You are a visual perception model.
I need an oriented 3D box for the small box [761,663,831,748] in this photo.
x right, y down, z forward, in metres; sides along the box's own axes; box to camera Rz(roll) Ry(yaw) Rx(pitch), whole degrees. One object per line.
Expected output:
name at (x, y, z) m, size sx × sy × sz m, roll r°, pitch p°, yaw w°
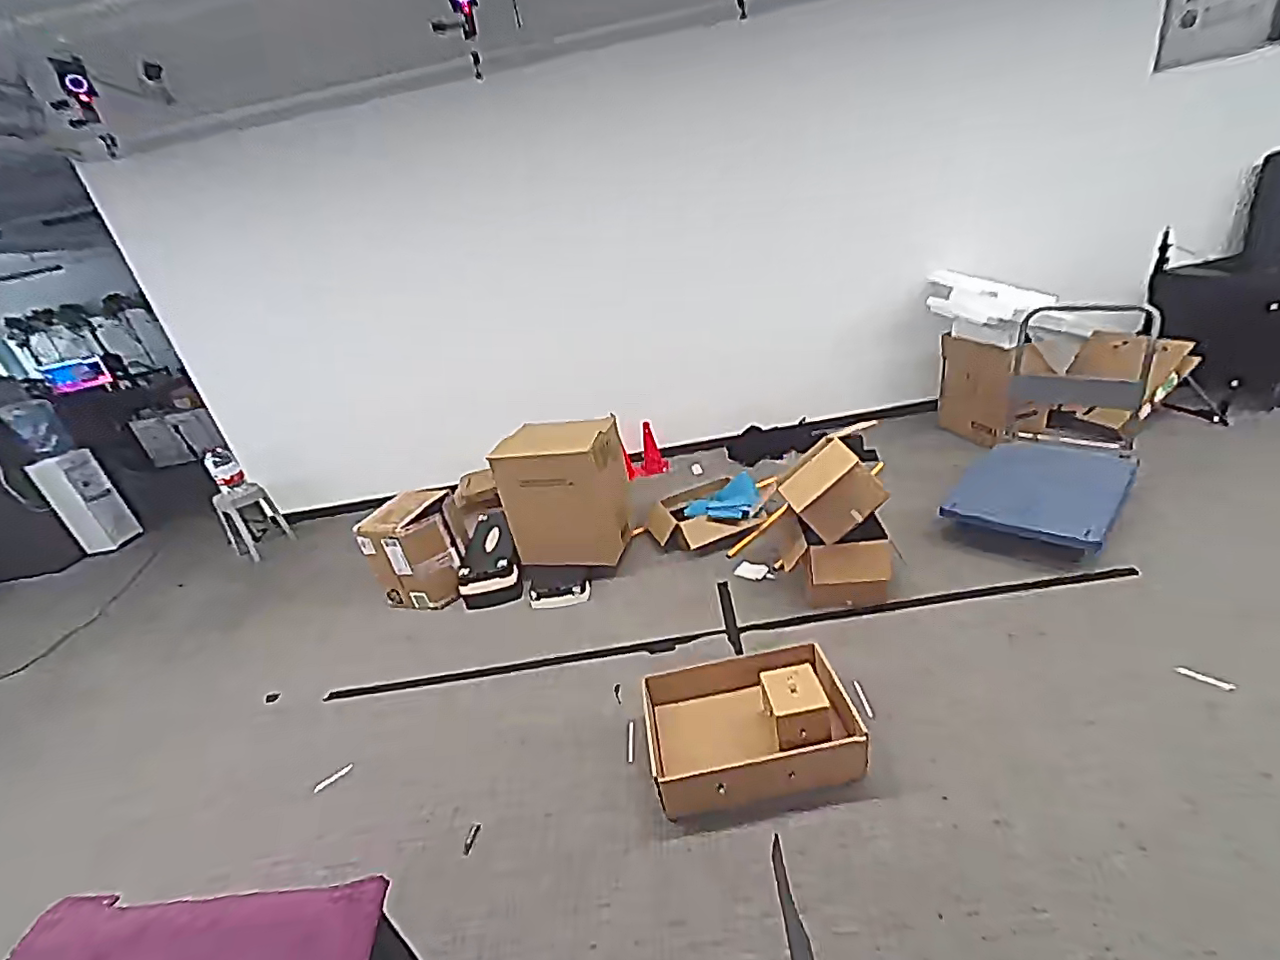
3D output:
small box at (0.487, 0.710, 1.690) m, size 0.168 × 0.176 × 0.179 m, roll -11°, pitch 24°, yaw 1°
